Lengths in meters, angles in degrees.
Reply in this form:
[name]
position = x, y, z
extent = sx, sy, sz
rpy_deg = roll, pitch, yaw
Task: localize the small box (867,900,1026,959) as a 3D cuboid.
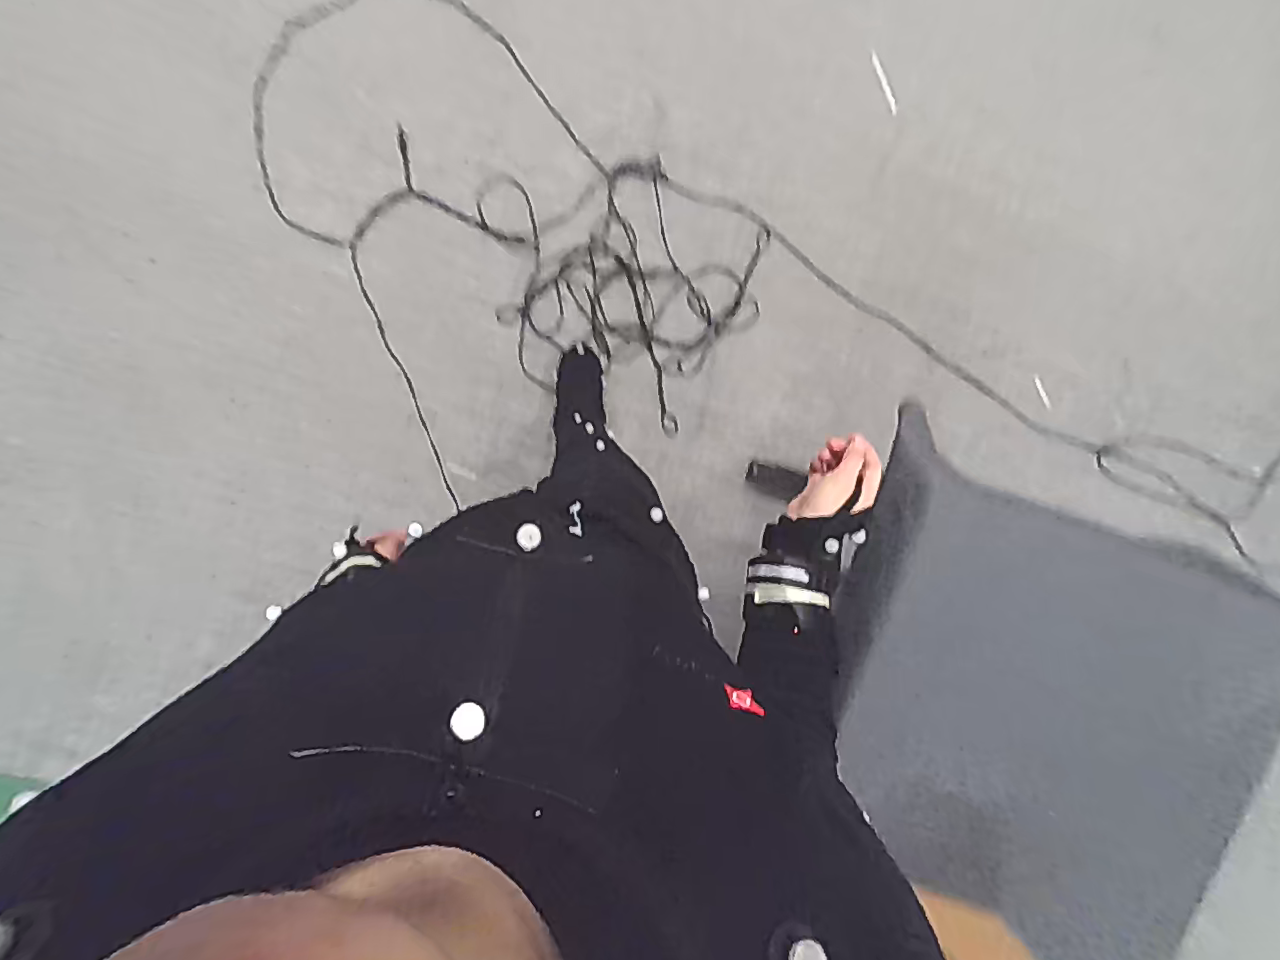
[small box]
position = 0.400, 0.664, 0.654
extent = 0.179, 0.176, 0.168
rpy_deg = 24, 93, -8
